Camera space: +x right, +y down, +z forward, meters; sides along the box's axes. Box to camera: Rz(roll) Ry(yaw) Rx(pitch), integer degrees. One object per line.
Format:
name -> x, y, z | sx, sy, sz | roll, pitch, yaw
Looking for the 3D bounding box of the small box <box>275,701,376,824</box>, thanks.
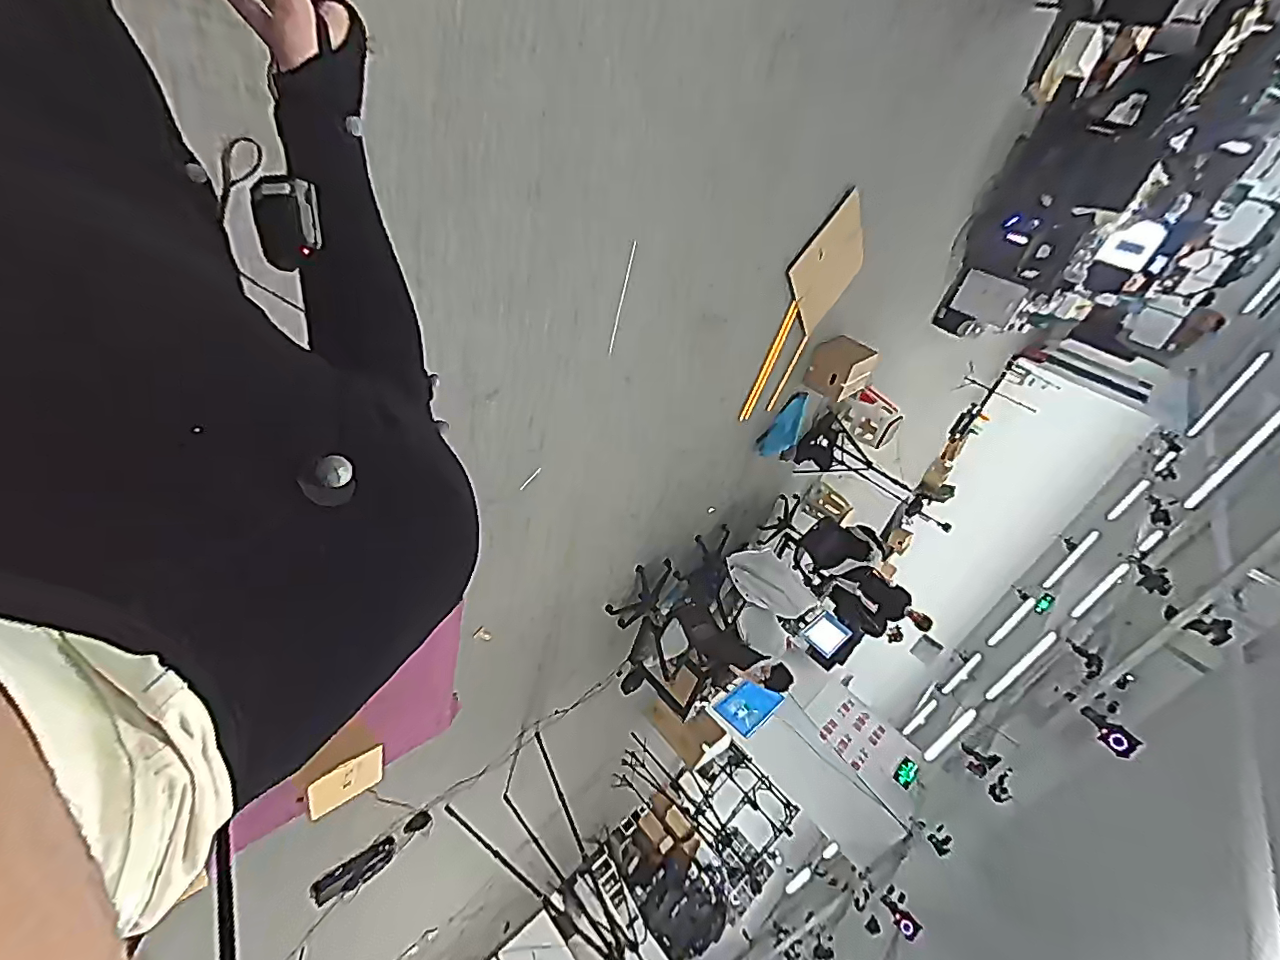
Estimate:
small box -> -0.767, 0.682, 1.321 | 0.168, 0.176, 0.179 | -18, 138, -44
